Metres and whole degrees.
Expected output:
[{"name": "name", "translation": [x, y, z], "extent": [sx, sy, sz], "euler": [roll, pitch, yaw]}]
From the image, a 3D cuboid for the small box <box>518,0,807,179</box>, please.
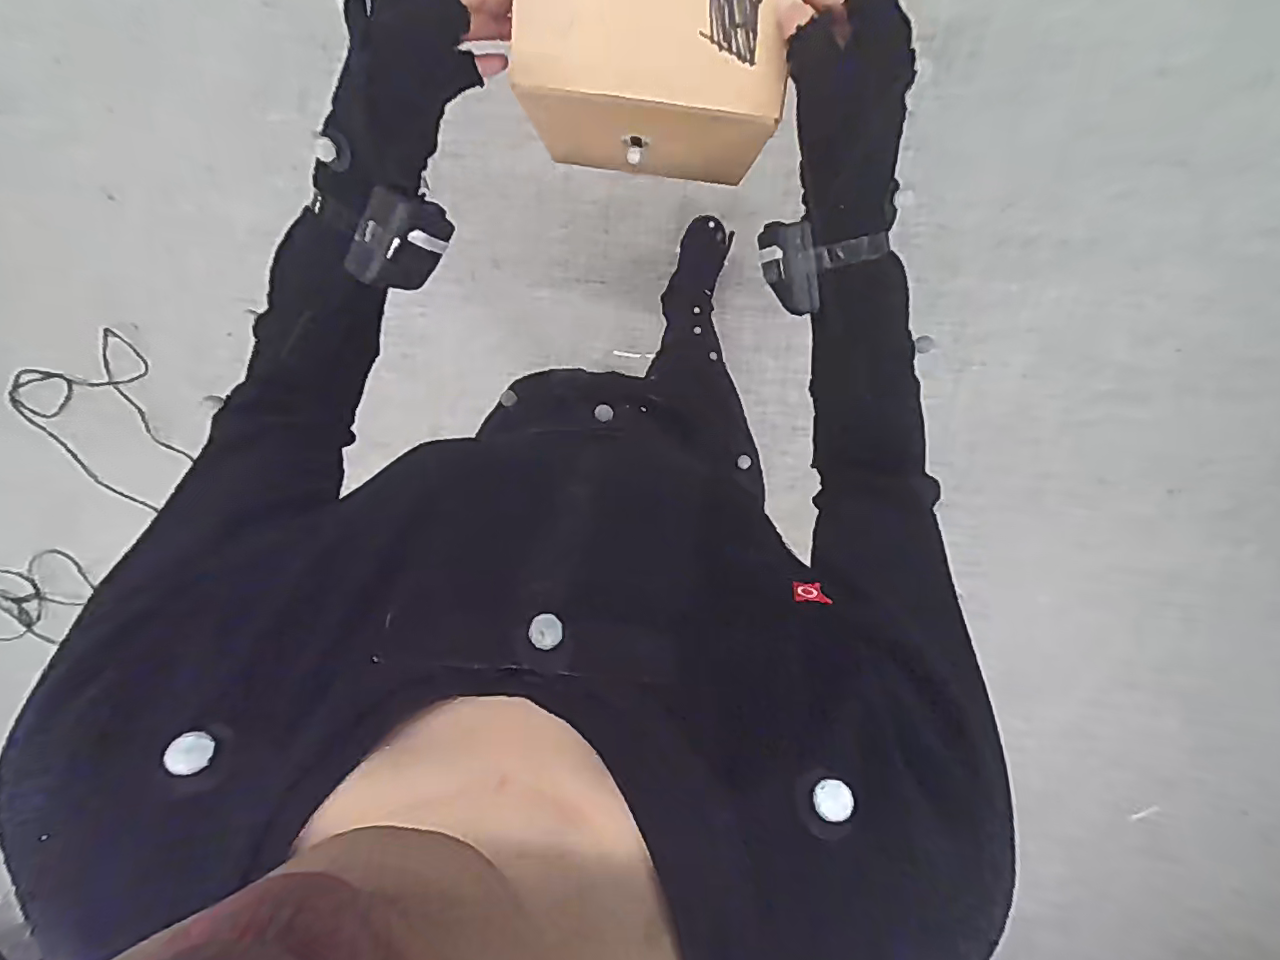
[{"name": "small box", "translation": [0.019, -0.339, 0.399], "extent": [0.179, 0.176, 0.168], "euler": [7, 105, -1]}]
